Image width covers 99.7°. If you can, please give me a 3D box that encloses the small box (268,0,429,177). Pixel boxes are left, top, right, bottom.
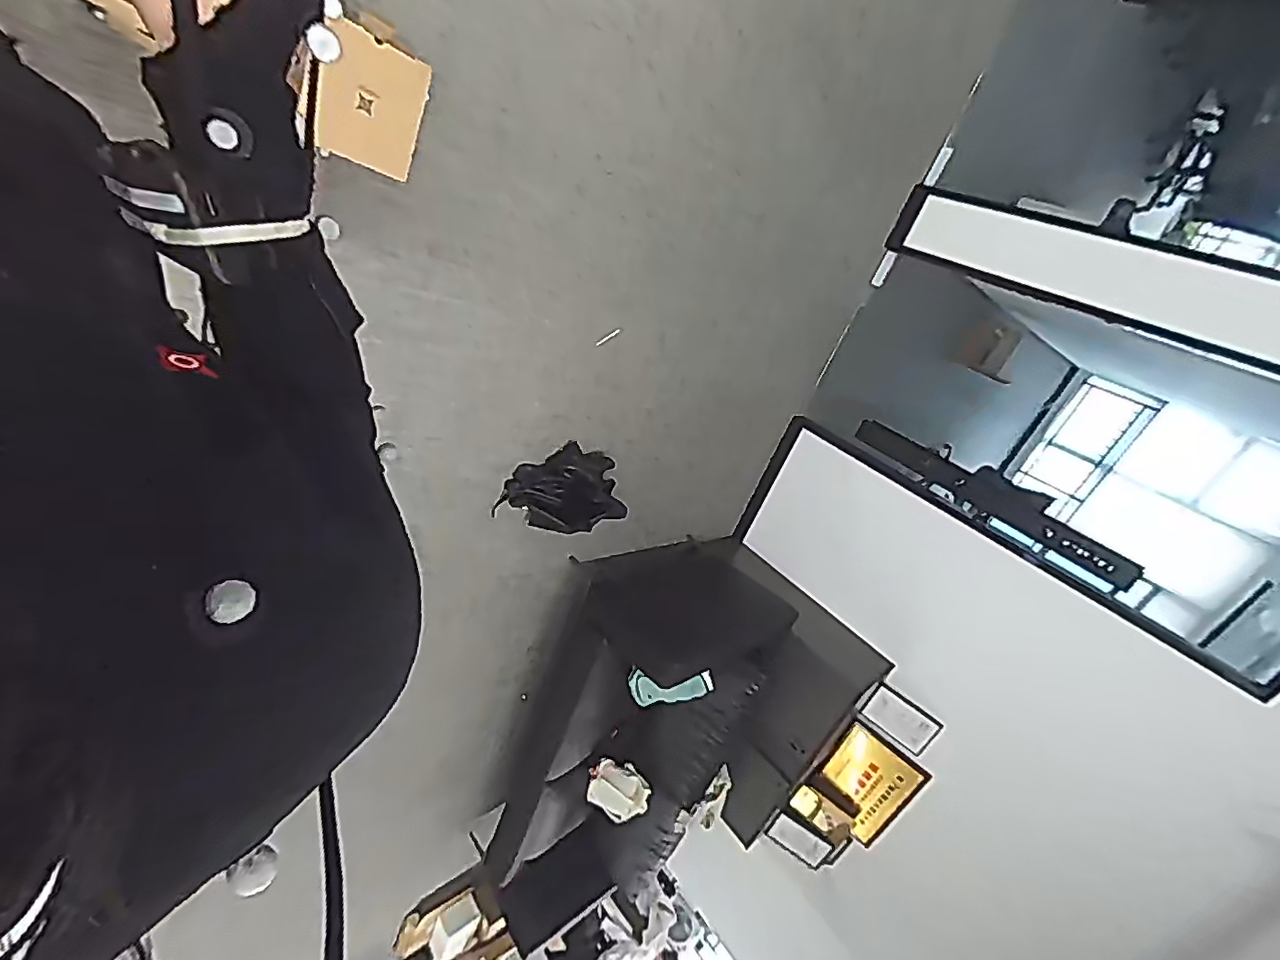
[{"bbox_3d":[-0.464,-0.618,0.851,0.168,0.176,0.179,1,122,-48],"label":"small box"}]
